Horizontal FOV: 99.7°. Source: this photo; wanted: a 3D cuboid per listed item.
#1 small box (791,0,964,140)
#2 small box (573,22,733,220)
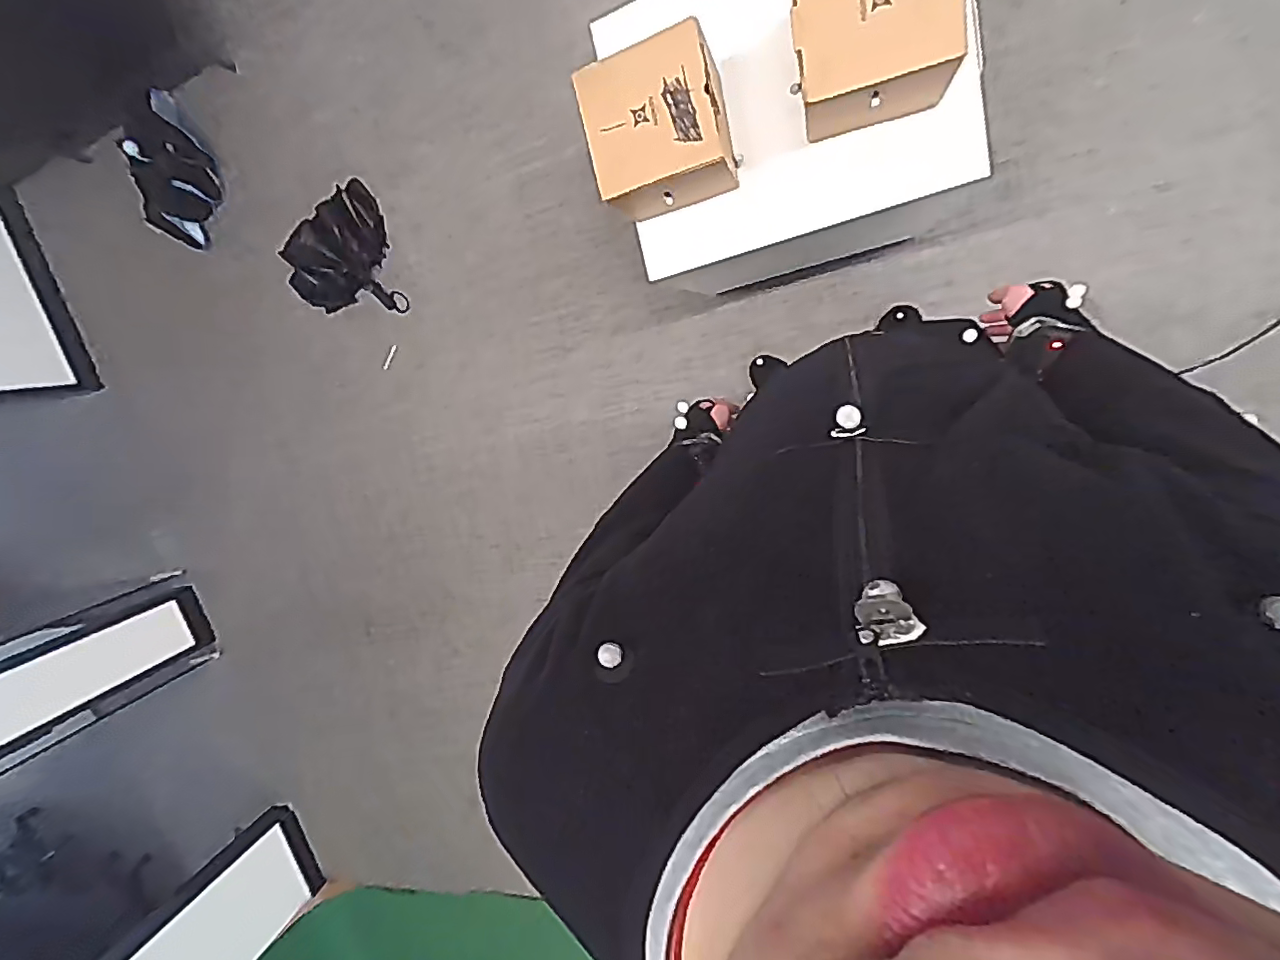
[{"bbox_3d":[0.288,-0.558,0.679,0.179,0.176,0.168,-6,105,19],"label":"small box"},{"bbox_3d":[0.032,-0.496,0.780,0.179,0.176,0.168,-9,102,21],"label":"small box"}]
